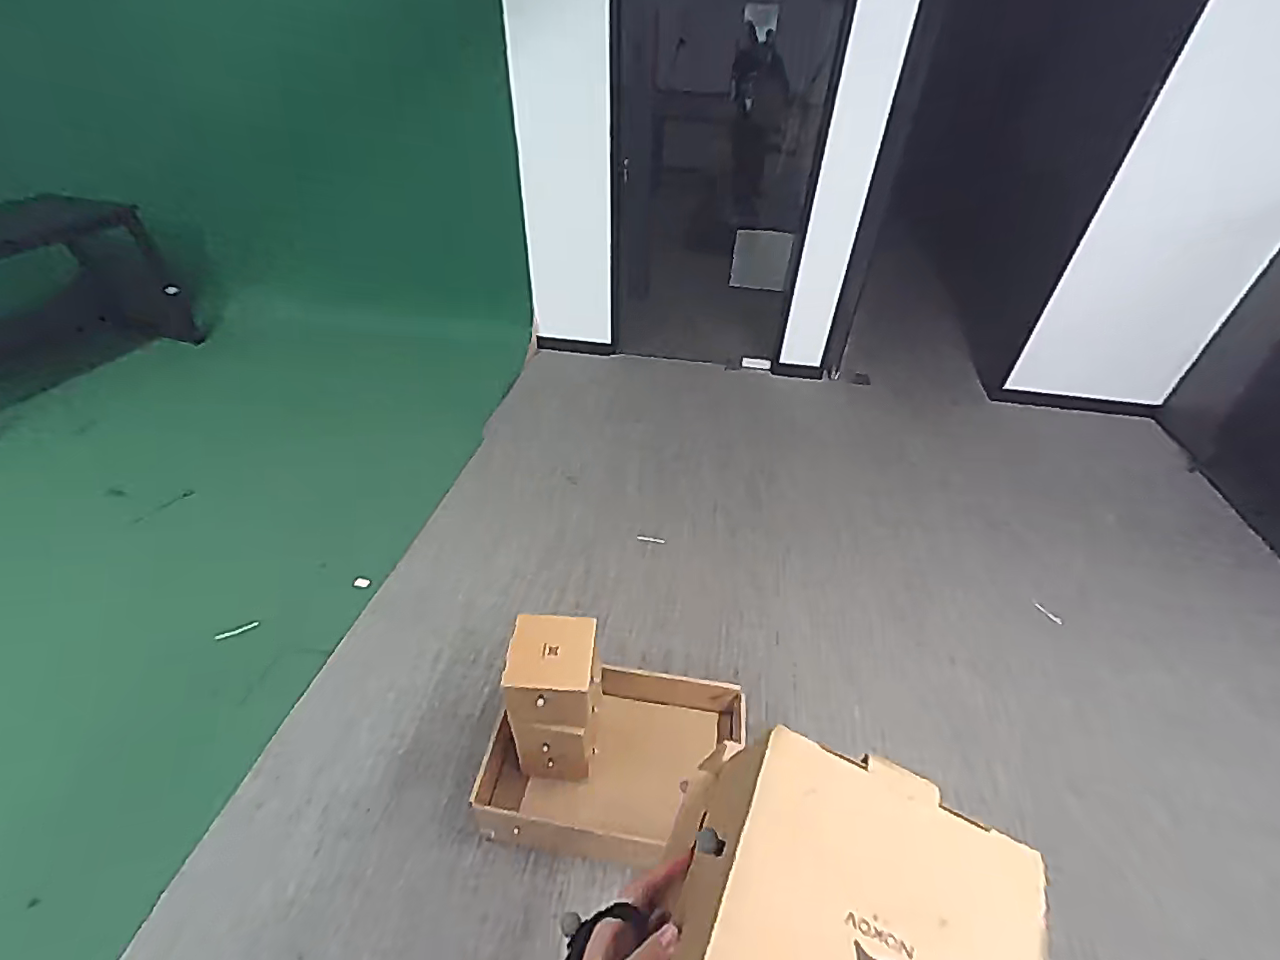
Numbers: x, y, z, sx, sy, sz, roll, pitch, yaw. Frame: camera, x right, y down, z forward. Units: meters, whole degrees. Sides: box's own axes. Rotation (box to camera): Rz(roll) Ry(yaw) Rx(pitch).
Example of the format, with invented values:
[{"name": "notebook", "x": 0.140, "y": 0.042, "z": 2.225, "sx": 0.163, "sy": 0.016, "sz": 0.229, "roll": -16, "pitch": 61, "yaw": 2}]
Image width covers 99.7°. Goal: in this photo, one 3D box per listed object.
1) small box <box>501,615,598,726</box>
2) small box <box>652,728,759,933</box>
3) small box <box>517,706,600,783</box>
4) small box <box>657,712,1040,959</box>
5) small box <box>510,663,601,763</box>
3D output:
[{"name": "small box", "x": -0.184, "y": 0.412, "z": 1.163, "sx": 0.179, "sy": 0.176, "sz": 0.168, "roll": 3, "pitch": 42, "yaw": 1}, {"name": "small box", "x": 0.121, "y": 0.361, "z": 0.500, "sx": 0.179, "sy": 0.176, "sz": 0.168, "roll": 22, "pitch": 58, "yaw": 10}, {"name": "small box", "x": -0.201, "y": 0.652, "z": 1.383, "sx": 0.179, "sy": 0.176, "sz": 0.168, "roll": 6, "pitch": 42, "yaw": 2}, {"name": "small box", "x": 0.118, "y": 0.287, "z": 0.351, "sx": 0.168, "sy": 0.176, "sz": 0.179, "roll": 23, "pitch": 57, "yaw": 12}, {"name": "small box", "x": -0.188, "y": 0.536, "z": 1.268, "sx": 0.168, "sy": 0.176, "sz": 0.179, "roll": 9, "pitch": 42, "yaw": 6}]
